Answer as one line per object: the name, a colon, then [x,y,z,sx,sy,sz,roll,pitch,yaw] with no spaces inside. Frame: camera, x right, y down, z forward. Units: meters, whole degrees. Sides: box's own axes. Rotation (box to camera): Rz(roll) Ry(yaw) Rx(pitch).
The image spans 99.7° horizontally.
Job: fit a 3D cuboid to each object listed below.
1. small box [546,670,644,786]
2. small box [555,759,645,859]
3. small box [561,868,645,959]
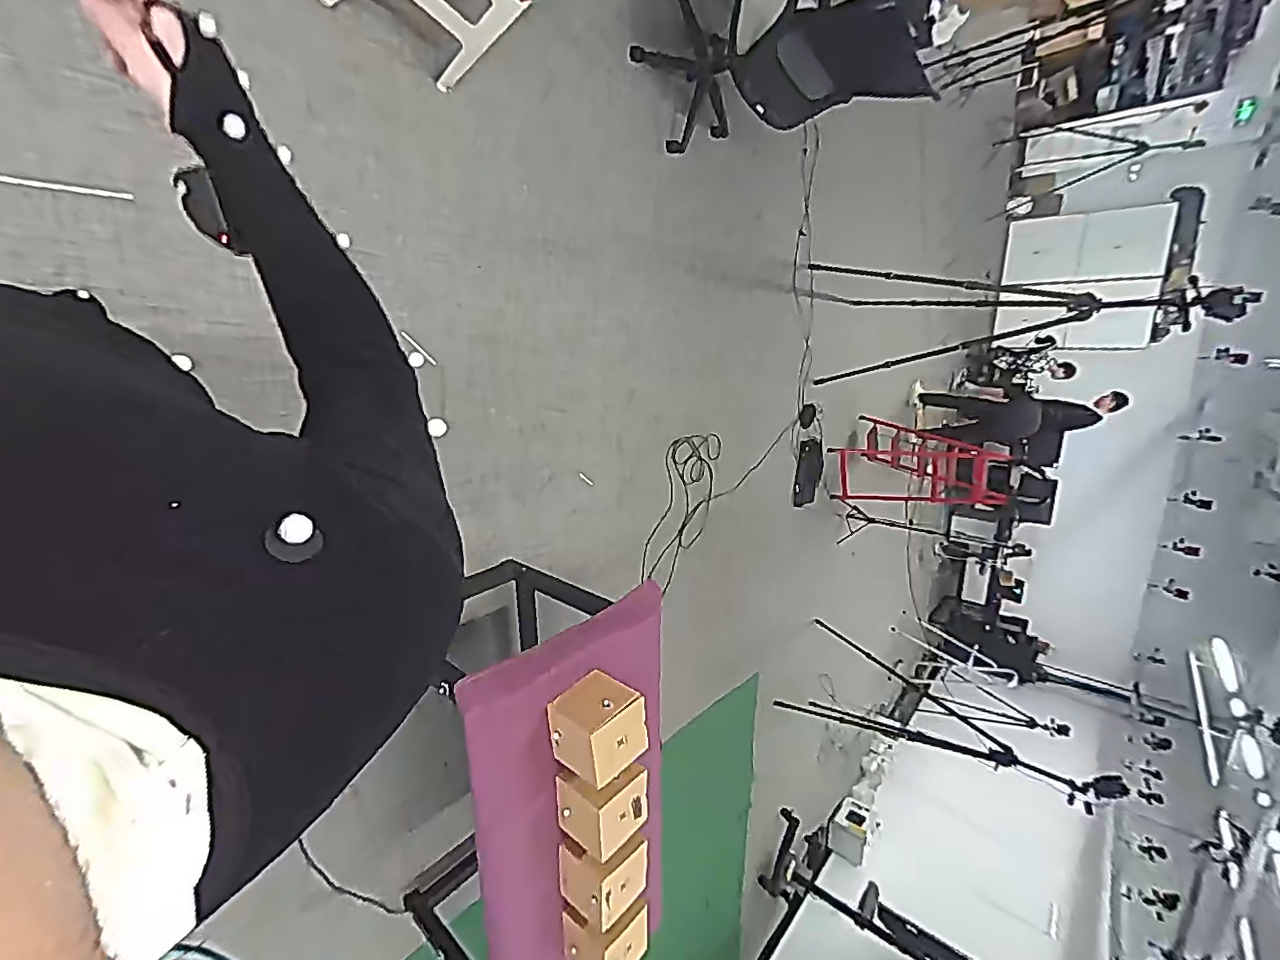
small box: [-0.112,0.611,1.360,0.179,0.176,0.168,-22,115,-43]
small box: [-0.104,0.829,1.425,0.179,0.176,0.168,-16,111,-45]
small box: [-0.106,1.263,1.533,0.179,0.176,0.168,-14,109,-46]
